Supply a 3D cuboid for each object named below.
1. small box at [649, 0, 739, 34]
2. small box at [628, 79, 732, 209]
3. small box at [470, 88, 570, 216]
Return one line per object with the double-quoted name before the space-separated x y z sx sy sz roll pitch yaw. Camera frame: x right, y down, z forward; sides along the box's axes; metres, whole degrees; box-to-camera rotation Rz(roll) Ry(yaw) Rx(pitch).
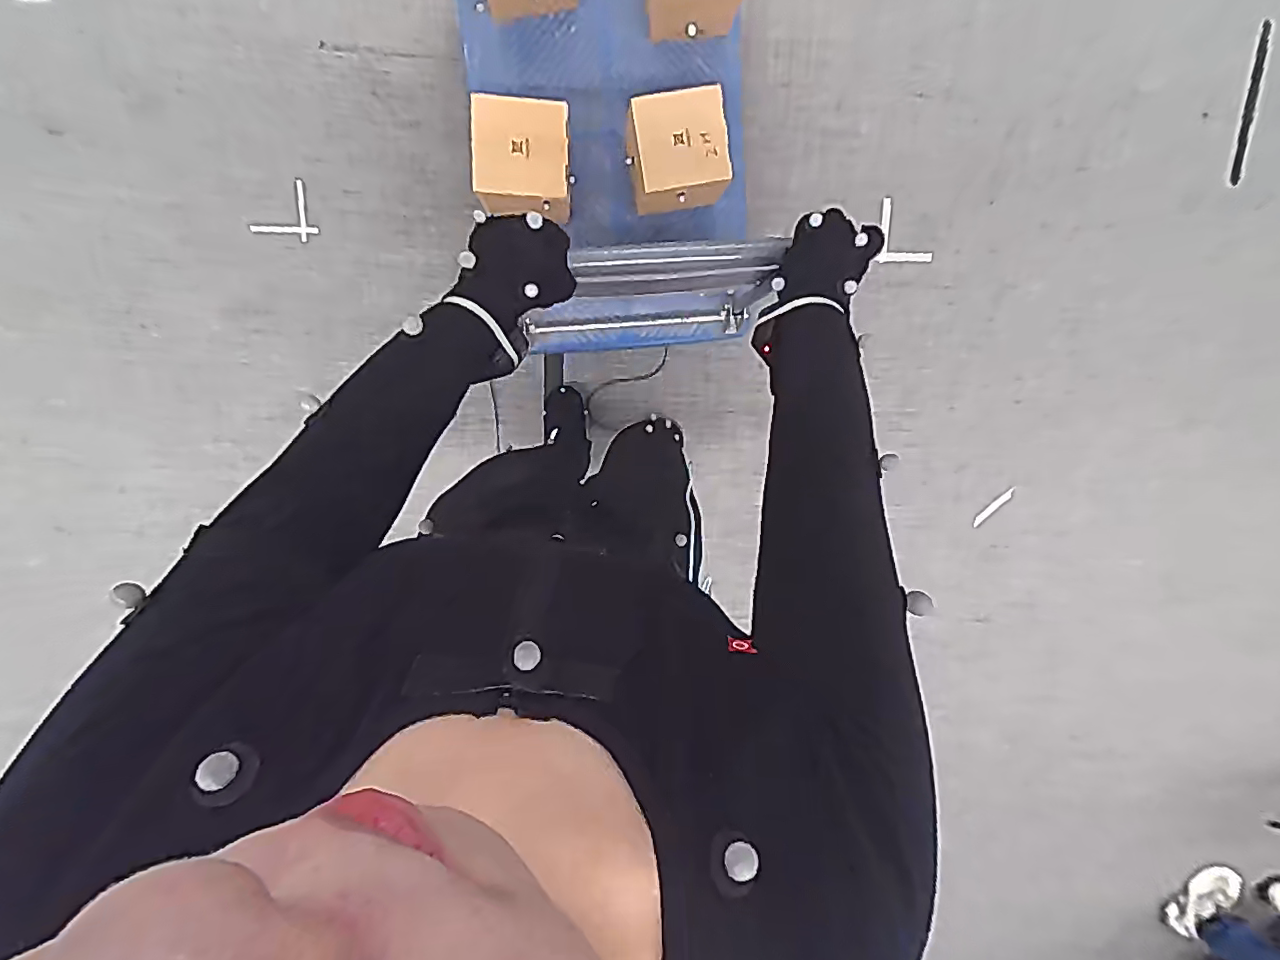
"small box" 0.101 -0.995 1.020 0.168 0.176 0.179 -8 104 -3
"small box" 0.073 -0.664 1.088 0.179 0.176 0.168 -11 103 -3
"small box" -0.230 -0.634 1.066 0.179 0.176 0.168 0 101 -7
